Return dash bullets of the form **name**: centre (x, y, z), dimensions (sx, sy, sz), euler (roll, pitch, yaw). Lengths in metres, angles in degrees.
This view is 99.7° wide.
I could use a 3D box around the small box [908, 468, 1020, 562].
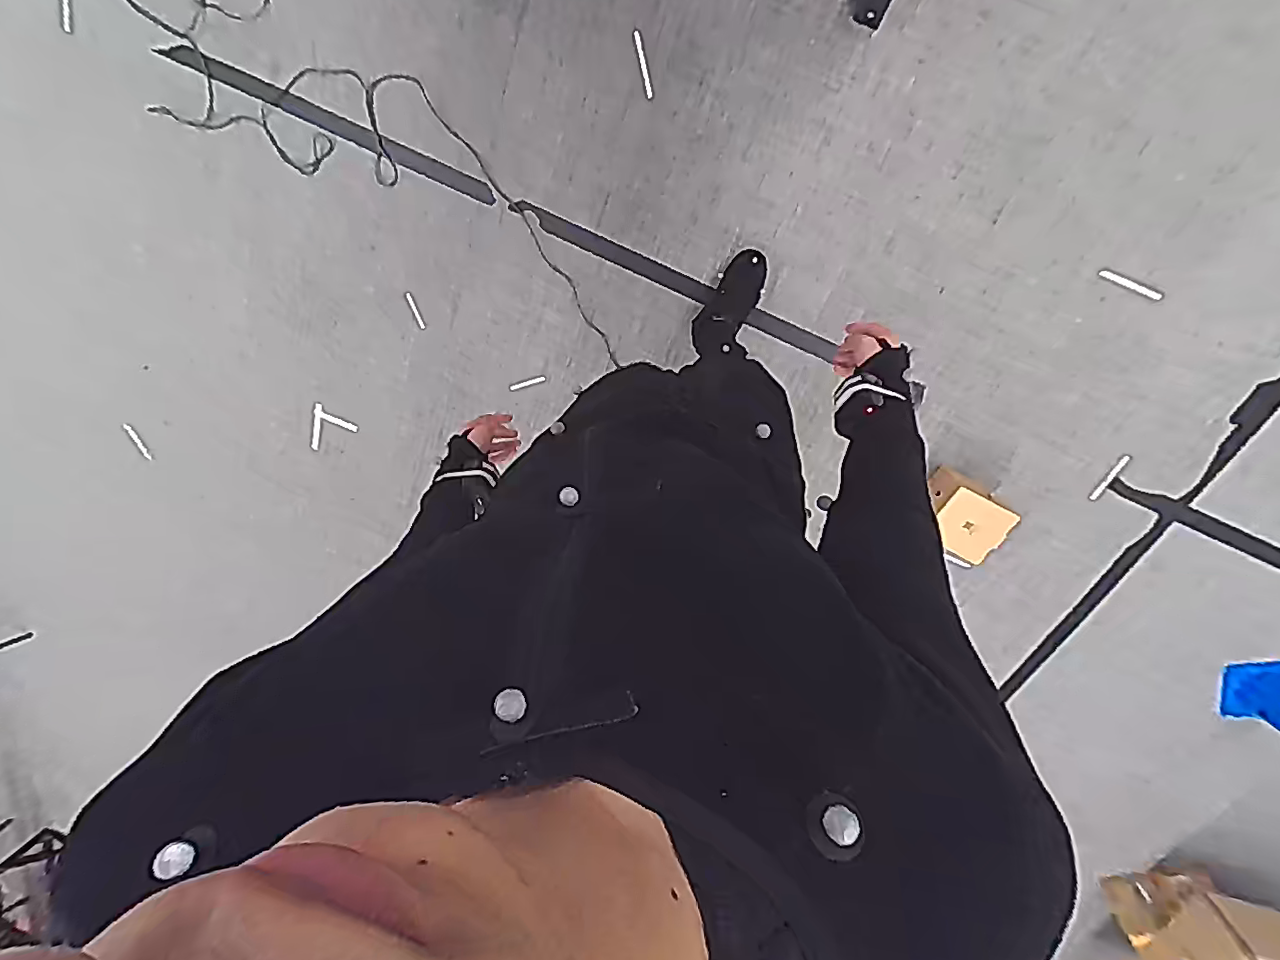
- **small box**: centre (0.866, 0.086, 1.469), dimensions (0.179, 0.176, 0.168), euler (27, 115, -1)
